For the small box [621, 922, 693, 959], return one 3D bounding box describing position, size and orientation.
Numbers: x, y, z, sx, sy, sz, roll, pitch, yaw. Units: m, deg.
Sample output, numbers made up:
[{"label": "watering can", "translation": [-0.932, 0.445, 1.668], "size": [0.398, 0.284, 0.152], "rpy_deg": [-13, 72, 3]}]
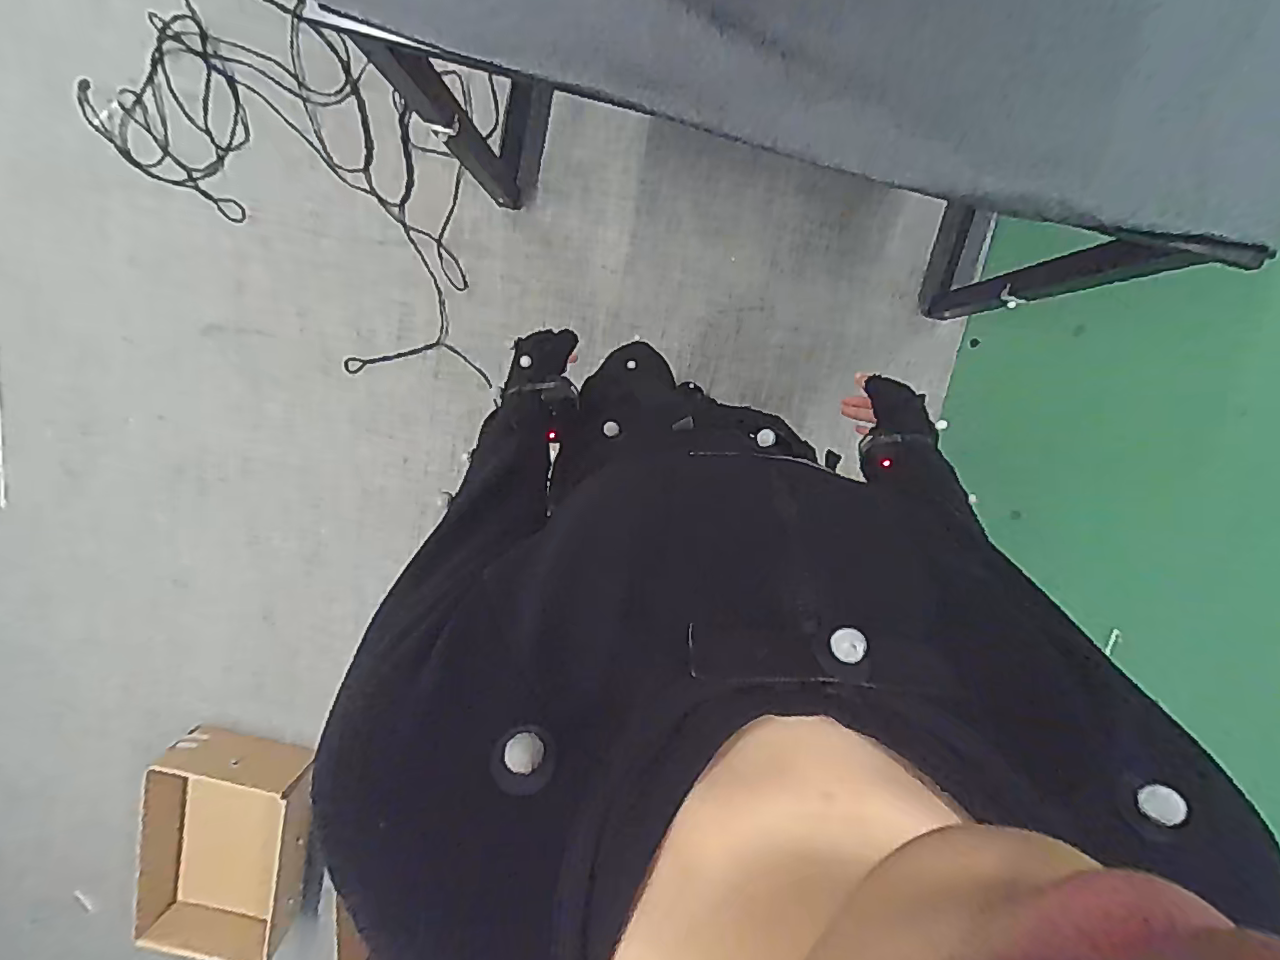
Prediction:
[{"label": "small box", "translation": [0.038, 1.322, 1.424], "size": [0.179, 0.176, 0.168], "rpy_deg": [15, 100, -1]}]
